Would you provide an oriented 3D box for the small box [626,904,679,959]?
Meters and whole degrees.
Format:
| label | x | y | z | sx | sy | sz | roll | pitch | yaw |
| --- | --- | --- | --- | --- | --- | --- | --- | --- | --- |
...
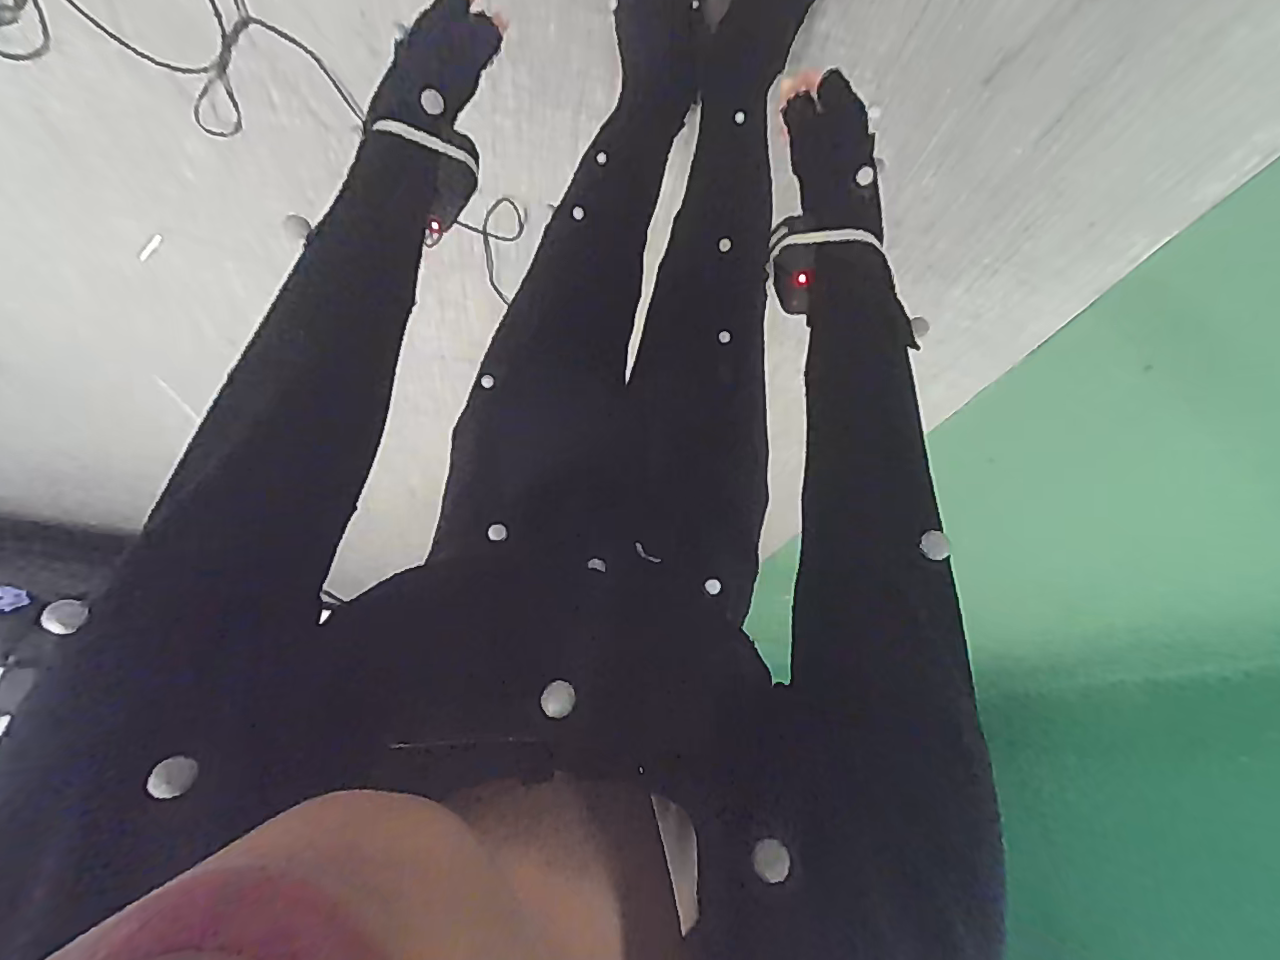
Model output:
| label | x | y | z | sx | sy | sz | roll | pitch | yaw |
| --- | --- | --- | --- | --- | --- | --- | --- | --- | --- |
| small box | 0.045 | 1.653 | 1.947 | 0.168 | 0.176 | 0.179 | 9 | 152 | 0 |
